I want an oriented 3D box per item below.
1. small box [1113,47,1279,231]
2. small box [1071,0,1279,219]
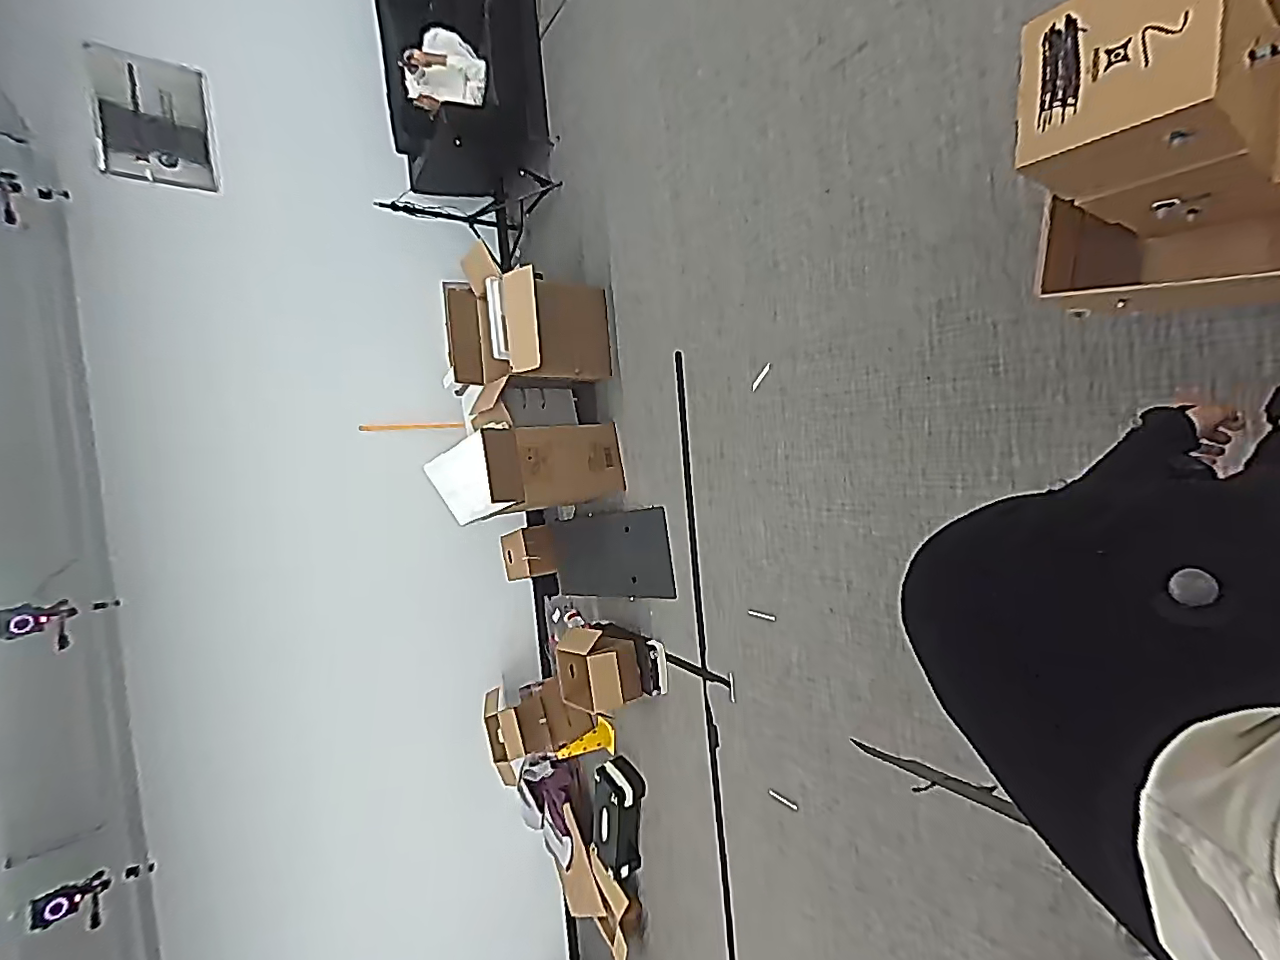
[{"bbox_3d":[0.843,-0.485,0.798,0.179,0.176,0.168,9,103,54],"label":"small box"},{"bbox_3d":[0.703,-0.473,0.714,0.168,0.176,0.179,5,99,56],"label":"small box"}]
